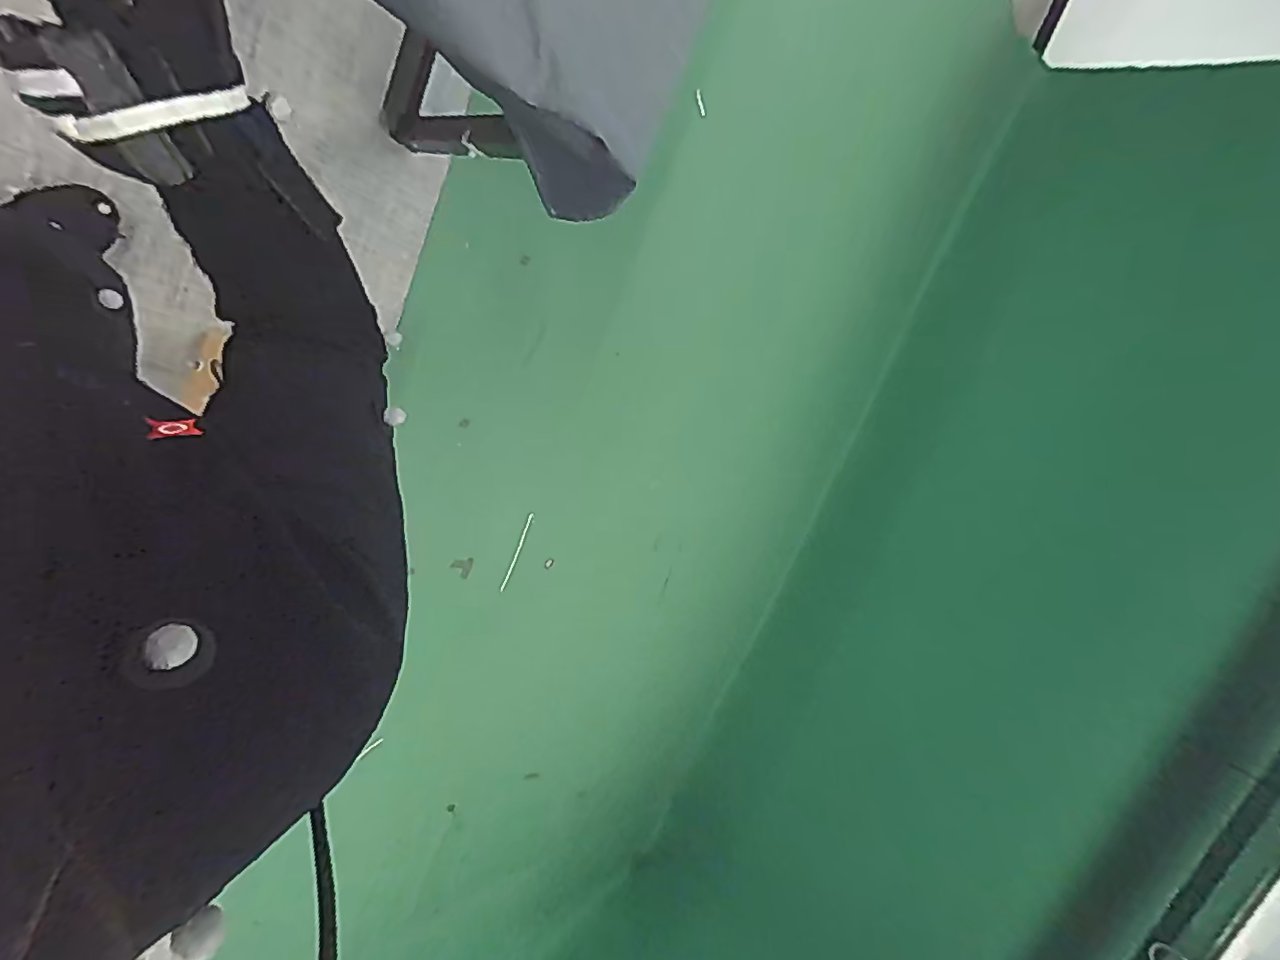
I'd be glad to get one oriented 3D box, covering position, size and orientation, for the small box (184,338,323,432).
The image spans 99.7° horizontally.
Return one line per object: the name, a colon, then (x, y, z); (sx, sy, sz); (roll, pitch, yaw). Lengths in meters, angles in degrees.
small box: (-0.801, -0.176, 1.120); (0.179, 0.176, 0.168); (18, 98, -51)
